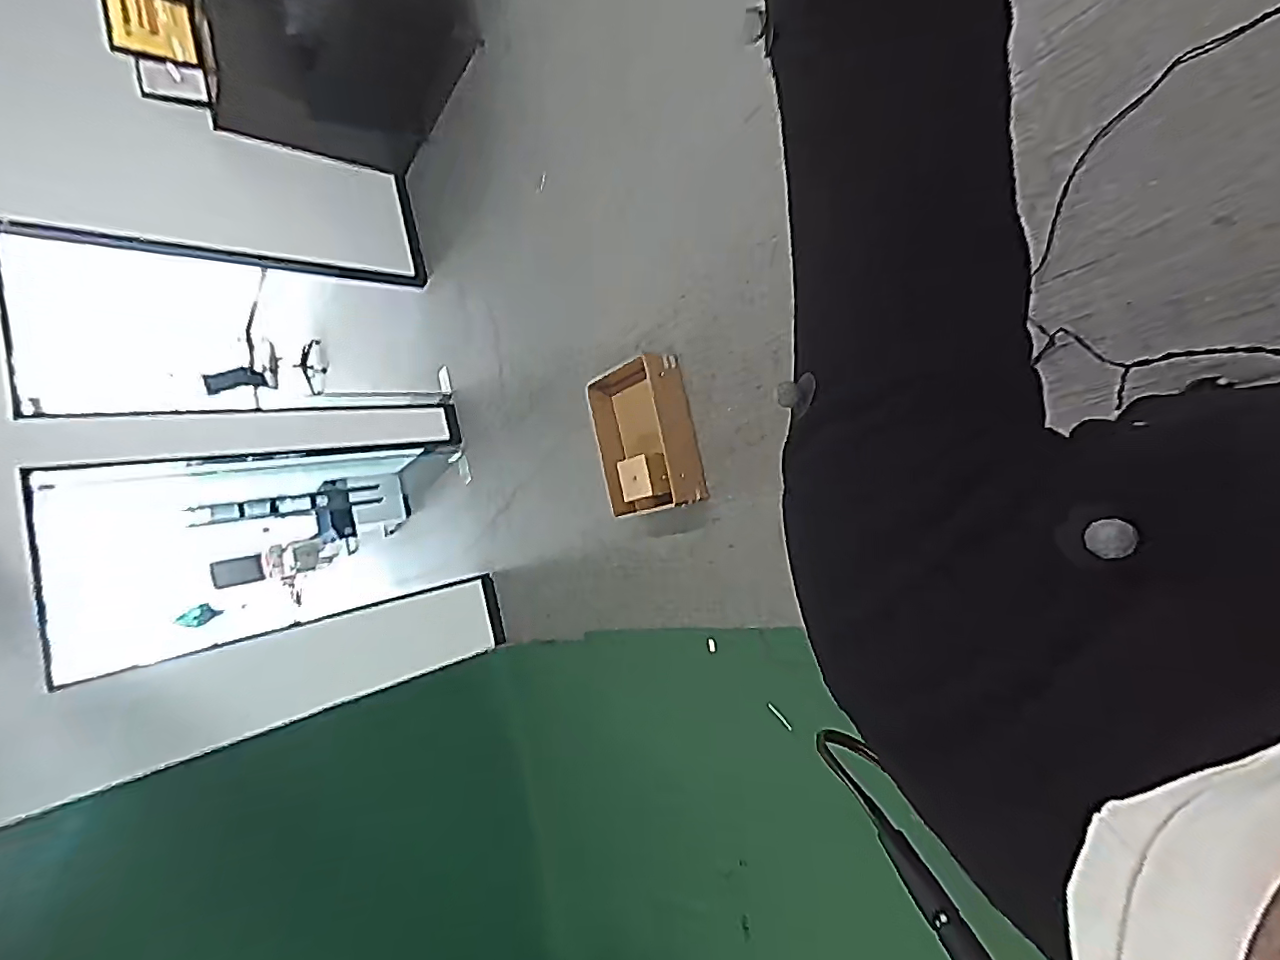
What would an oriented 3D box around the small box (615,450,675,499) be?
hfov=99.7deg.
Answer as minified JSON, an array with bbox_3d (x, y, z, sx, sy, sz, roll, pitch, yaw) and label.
[{"bbox_3d":[0.027,-0.024,2.222,0.179,0.176,0.168,-16,85,48],"label":"small box"}]
